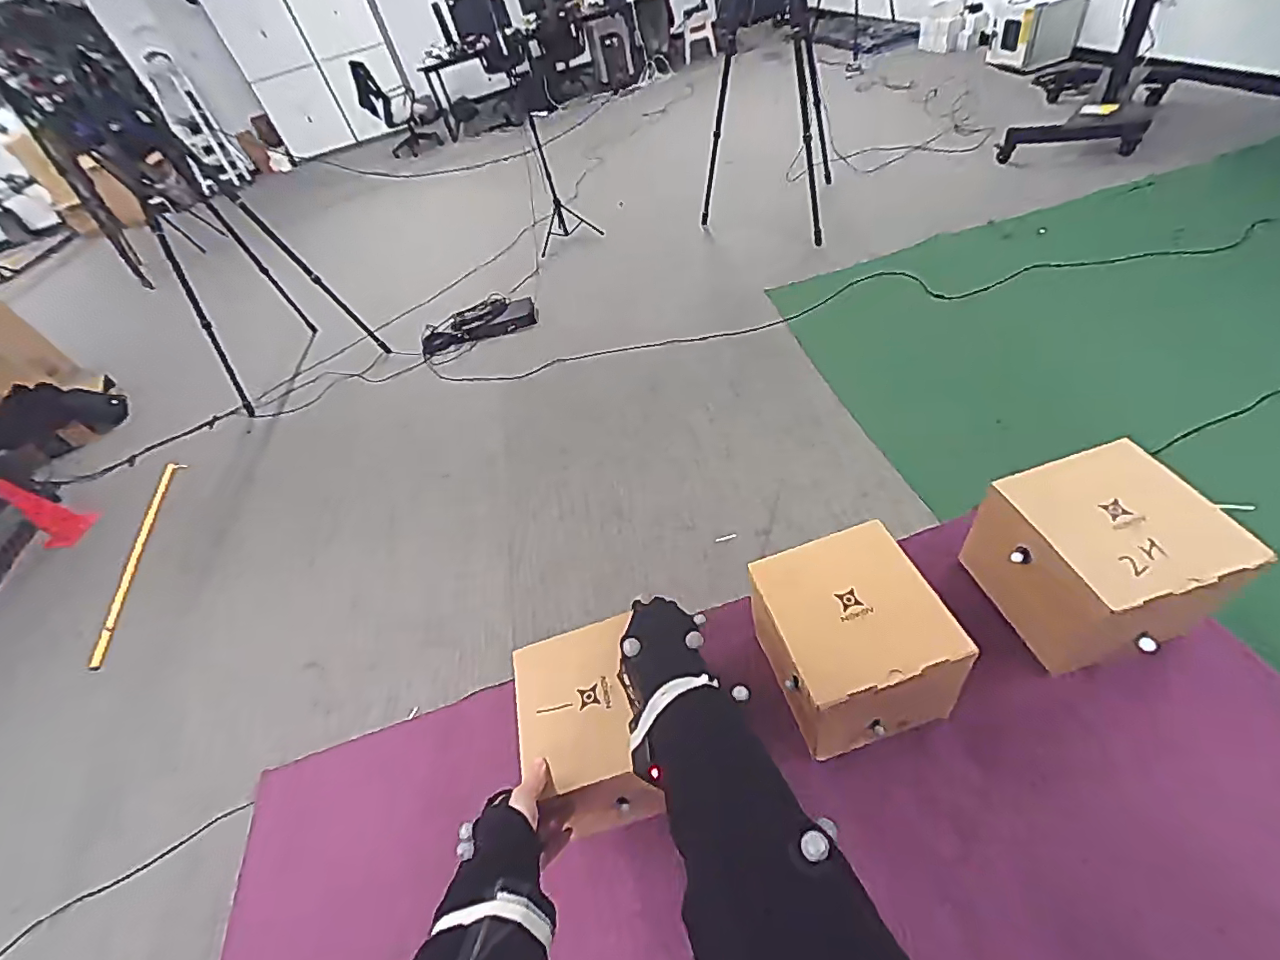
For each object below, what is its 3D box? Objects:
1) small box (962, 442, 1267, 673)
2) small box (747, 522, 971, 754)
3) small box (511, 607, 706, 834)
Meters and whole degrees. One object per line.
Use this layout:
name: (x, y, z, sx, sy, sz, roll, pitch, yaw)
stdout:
small box: (0.509, 0.091, 0.622, 0.168, 0.176, 0.179, -18, 48, 1)
small box: (0.235, 0.184, 0.628, 0.168, 0.176, 0.179, -19, 46, -1)
small box: (-0.030, 0.278, 0.620, 0.179, 0.176, 0.168, -19, 45, 1)
